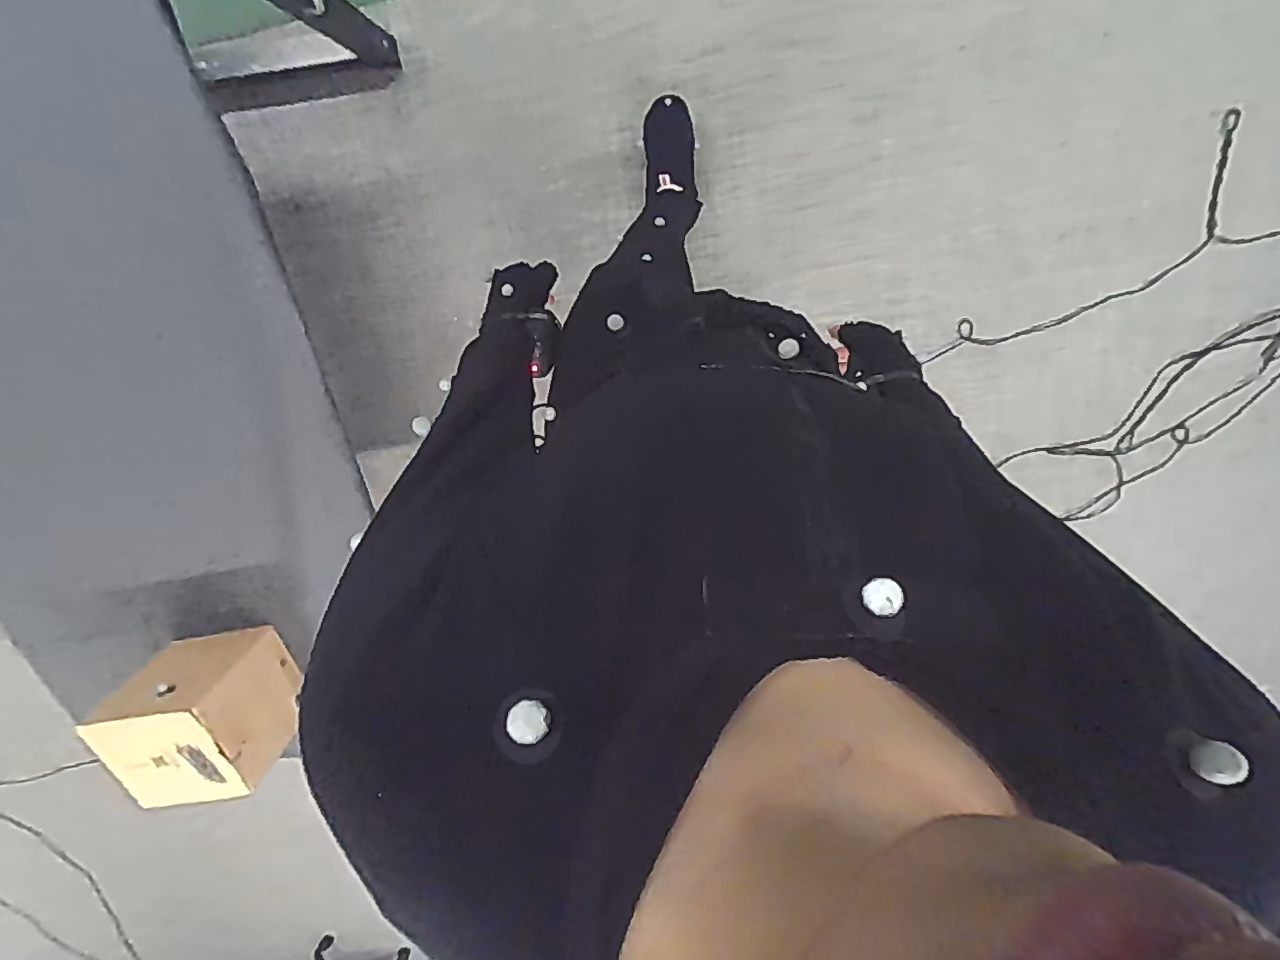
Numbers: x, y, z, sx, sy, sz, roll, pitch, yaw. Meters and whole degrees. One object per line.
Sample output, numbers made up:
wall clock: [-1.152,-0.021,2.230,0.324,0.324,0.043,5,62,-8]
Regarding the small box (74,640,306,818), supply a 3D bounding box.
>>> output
small box: [-0.633,0.356,0.796,0.179,0.176,0.168,-10,113,6]
